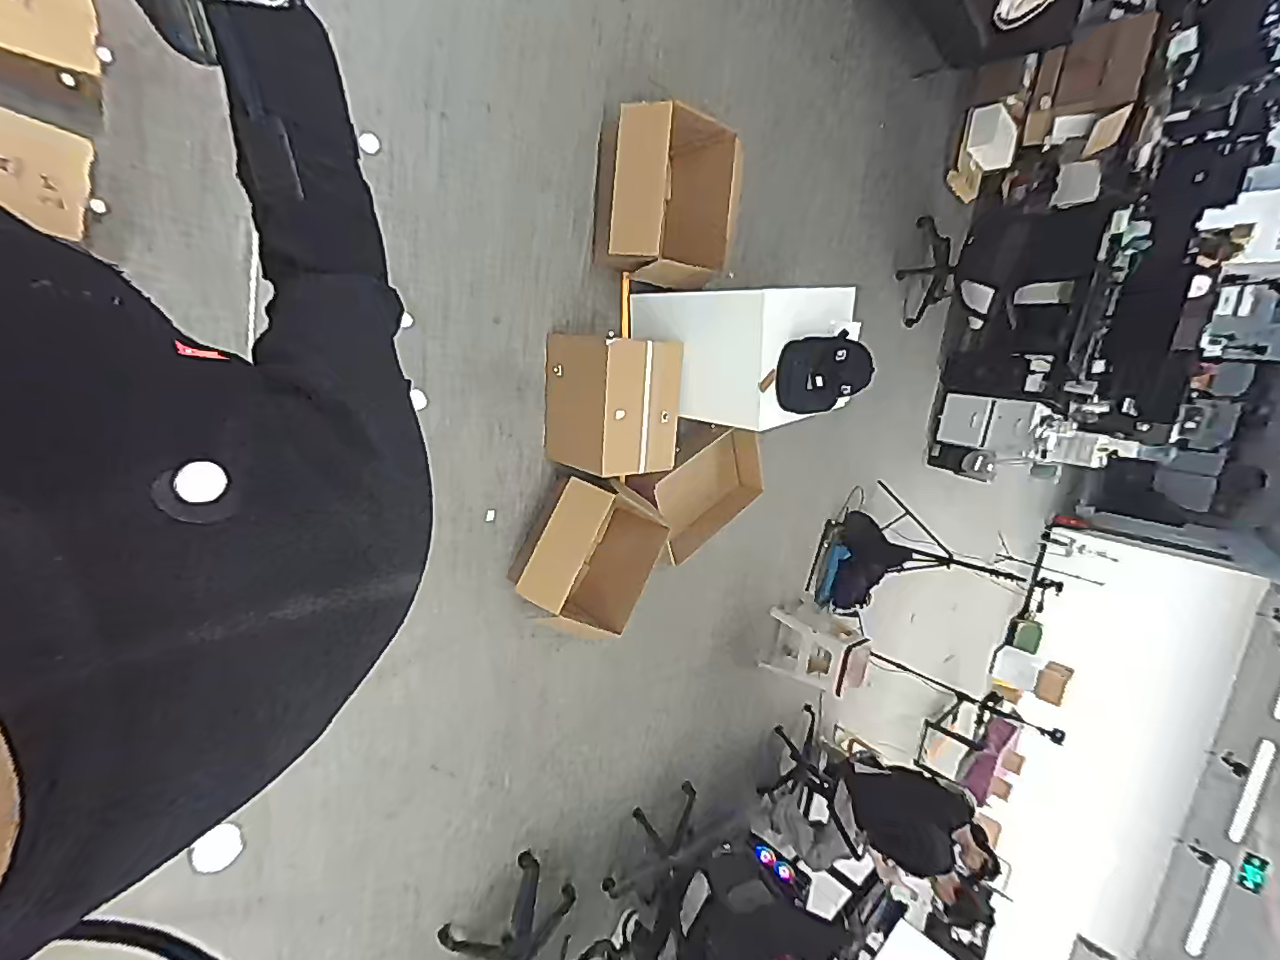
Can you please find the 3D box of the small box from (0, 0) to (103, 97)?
[{"bbox_3d":[-0.975,-0.740,0.849,0.179,0.176,0.168,-7,107,-44],"label":"small box"}]

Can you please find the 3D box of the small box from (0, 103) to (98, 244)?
[{"bbox_3d":[-1.018,-0.500,0.879,0.179,0.176,0.168,9,97,-45],"label":"small box"}]
